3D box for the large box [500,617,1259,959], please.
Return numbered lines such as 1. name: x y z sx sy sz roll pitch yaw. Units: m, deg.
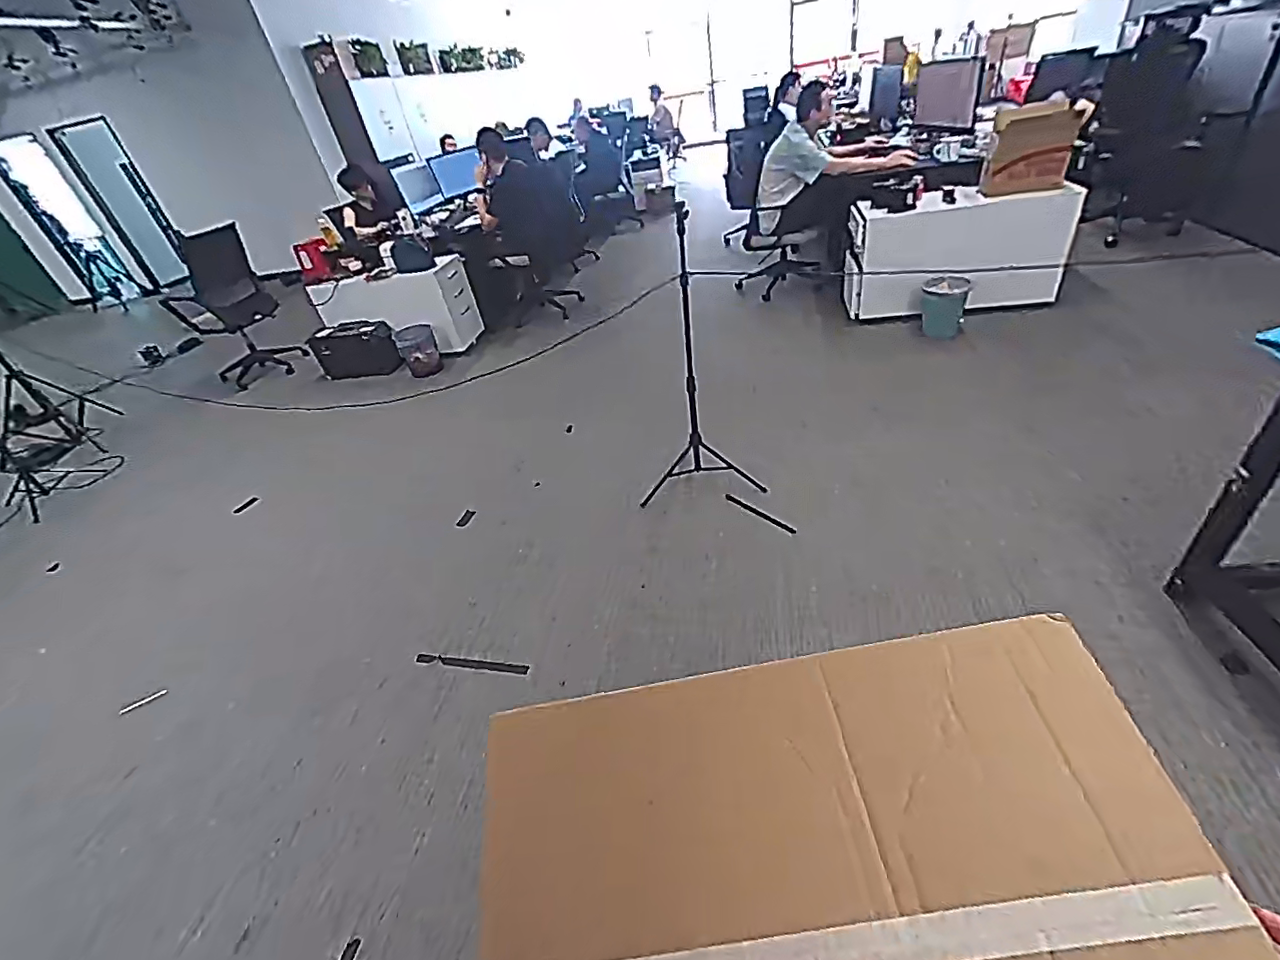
1. large box: 0.137 0.343 0.417 0.408 0.320 0.320 -12 54 5
